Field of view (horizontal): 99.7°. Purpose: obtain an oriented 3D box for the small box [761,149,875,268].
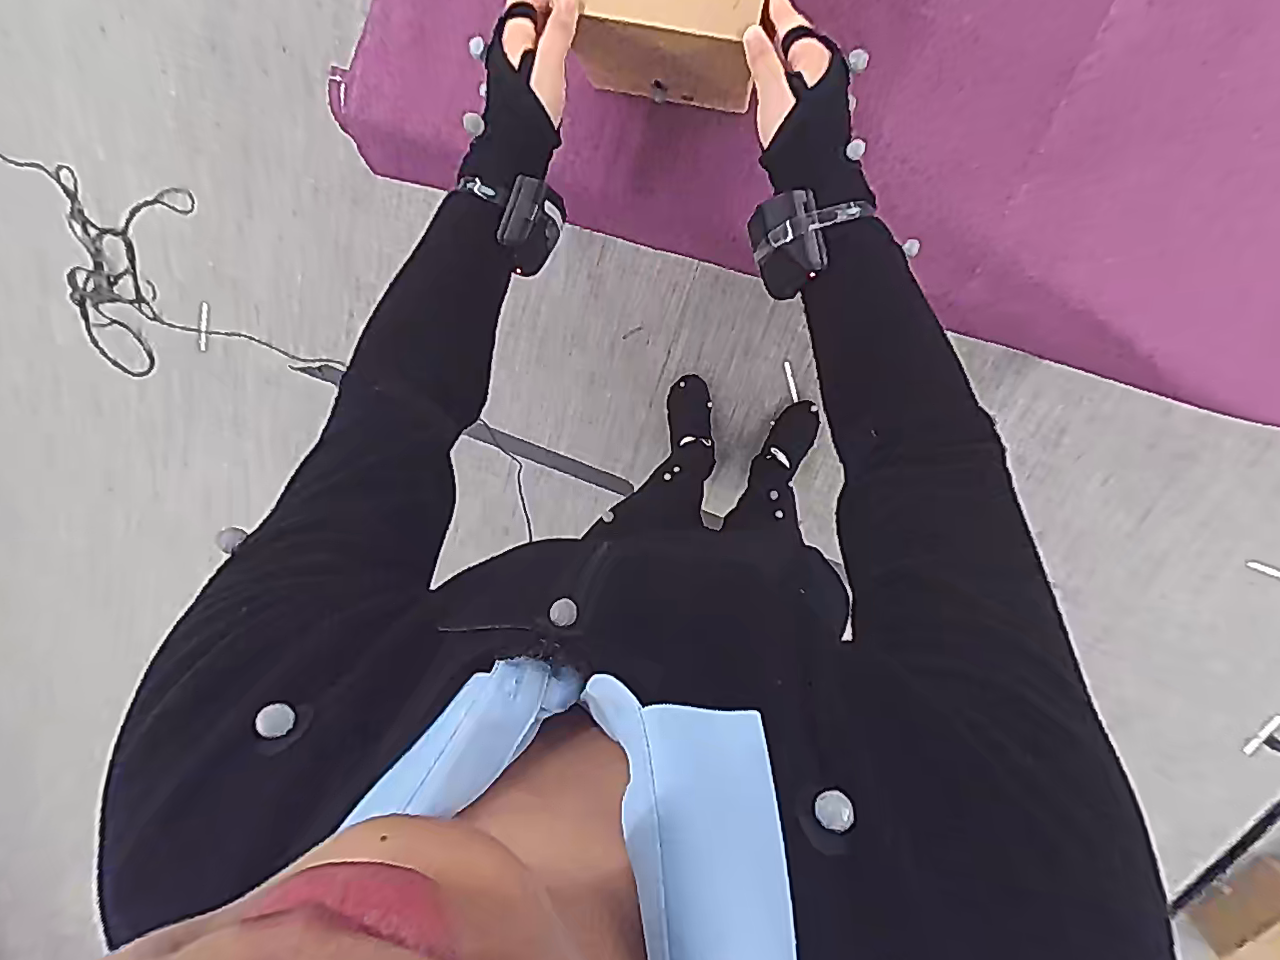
[{"bbox_3d":[0.368,-0.567,1.158,0.168,0.176,0.179,20,109,1],"label":"small box"}]
